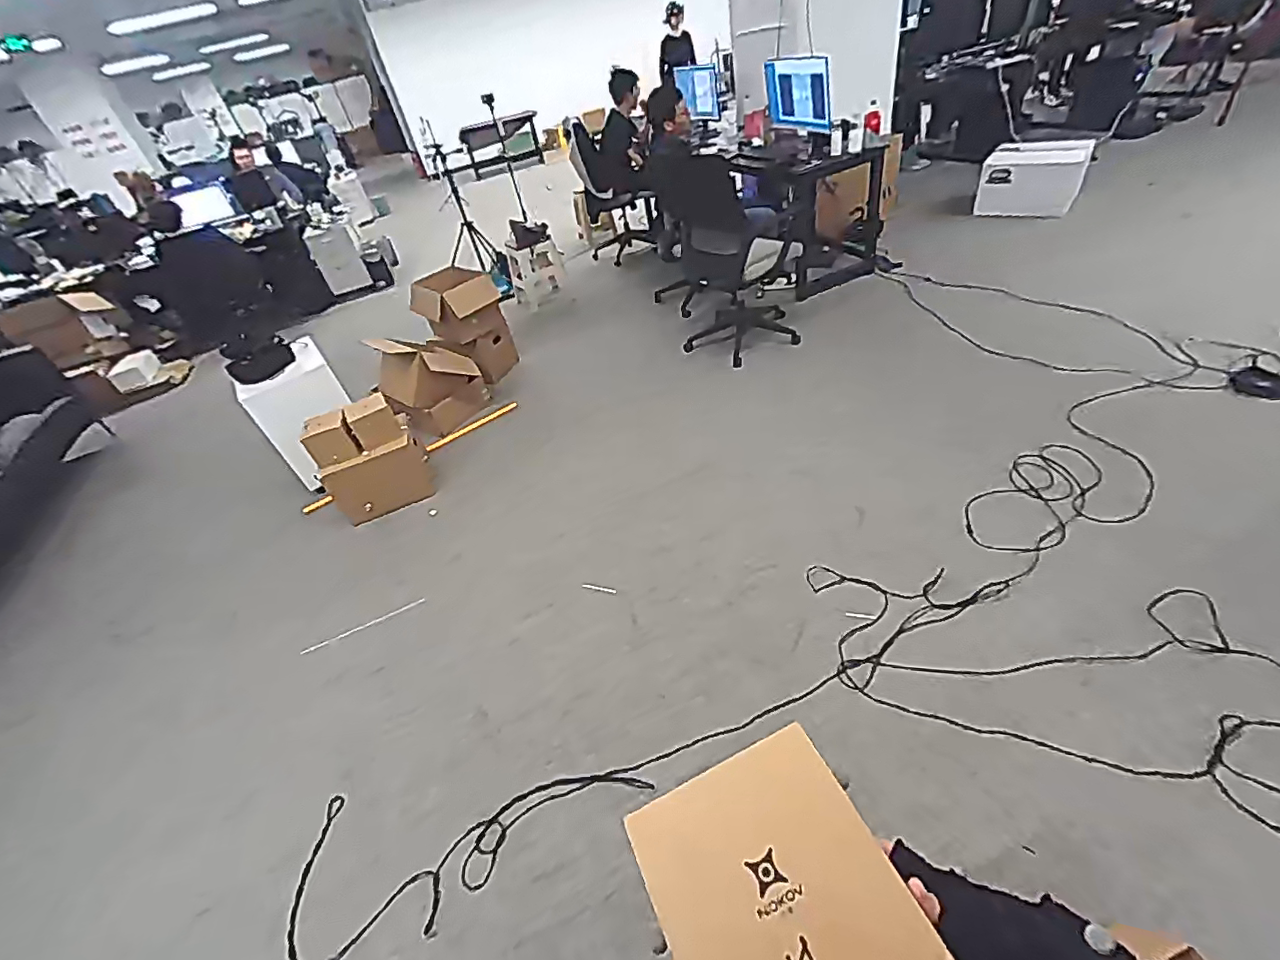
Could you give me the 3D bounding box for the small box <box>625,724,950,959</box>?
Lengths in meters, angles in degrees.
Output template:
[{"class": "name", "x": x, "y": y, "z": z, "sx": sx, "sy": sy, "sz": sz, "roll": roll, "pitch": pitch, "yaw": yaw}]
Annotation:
[{"class": "small box", "x": 0.105, "y": 0.340, "z": 0.432, "sx": 0.168, "sy": 0.176, "sz": 0.179, "roll": -24, "pitch": 45, "yaw": -9}]
